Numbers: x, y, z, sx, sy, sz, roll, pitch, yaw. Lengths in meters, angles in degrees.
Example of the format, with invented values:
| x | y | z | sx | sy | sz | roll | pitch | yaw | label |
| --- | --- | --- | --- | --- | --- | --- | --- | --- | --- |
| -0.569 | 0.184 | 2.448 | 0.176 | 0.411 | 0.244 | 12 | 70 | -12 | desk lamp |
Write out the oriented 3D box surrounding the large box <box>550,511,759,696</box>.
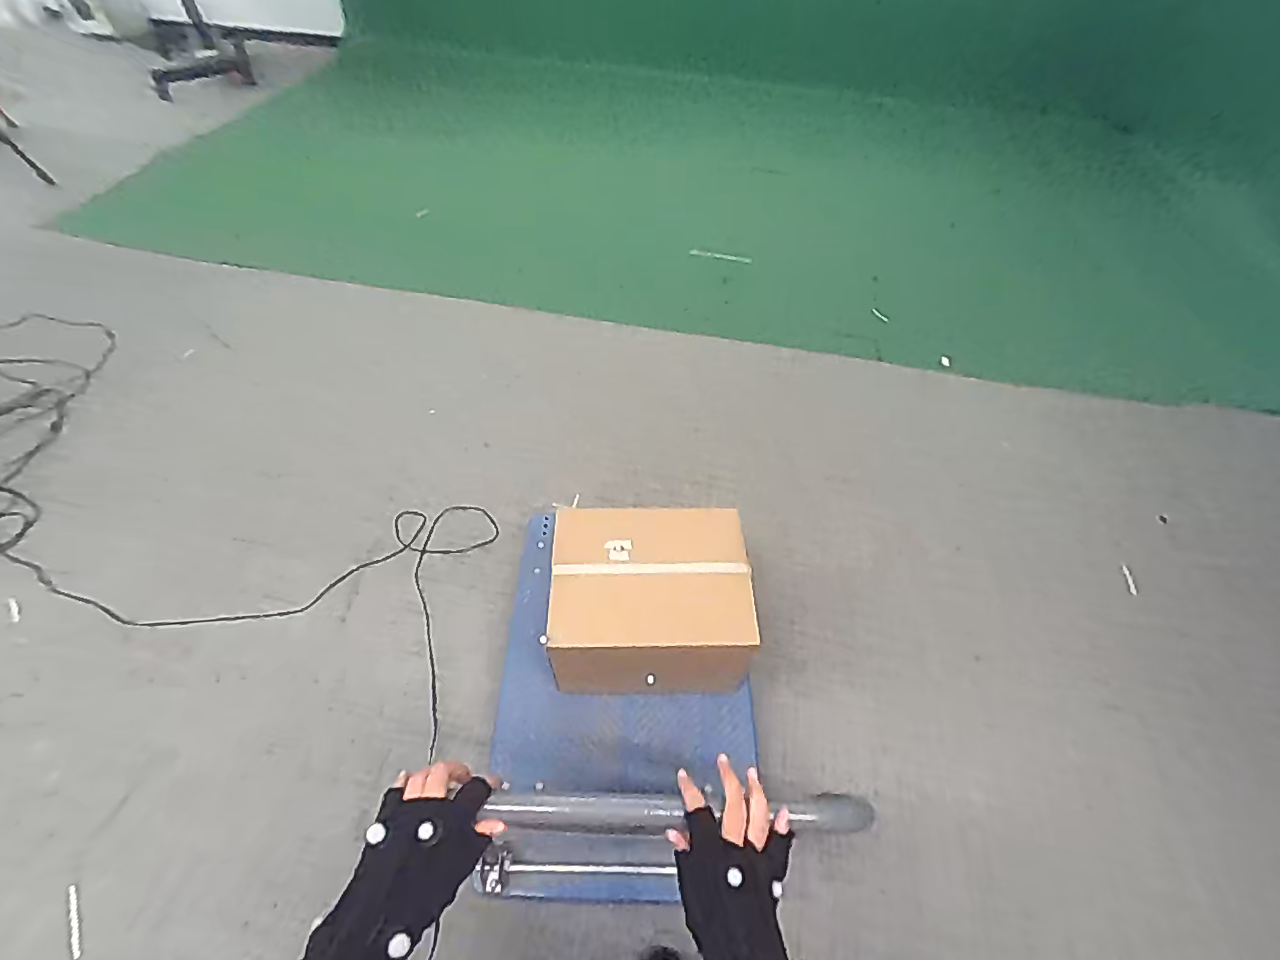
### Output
| x | y | z | sx | sy | sz | roll | pitch | yaw | label |
| --- | --- | --- | --- | --- | --- | --- | --- | --- | --- |
| 0.022 | 0.285 | 1.225 | 0.408 | 0.320 | 0.320 | -1 | 52 | -2 | large box |
